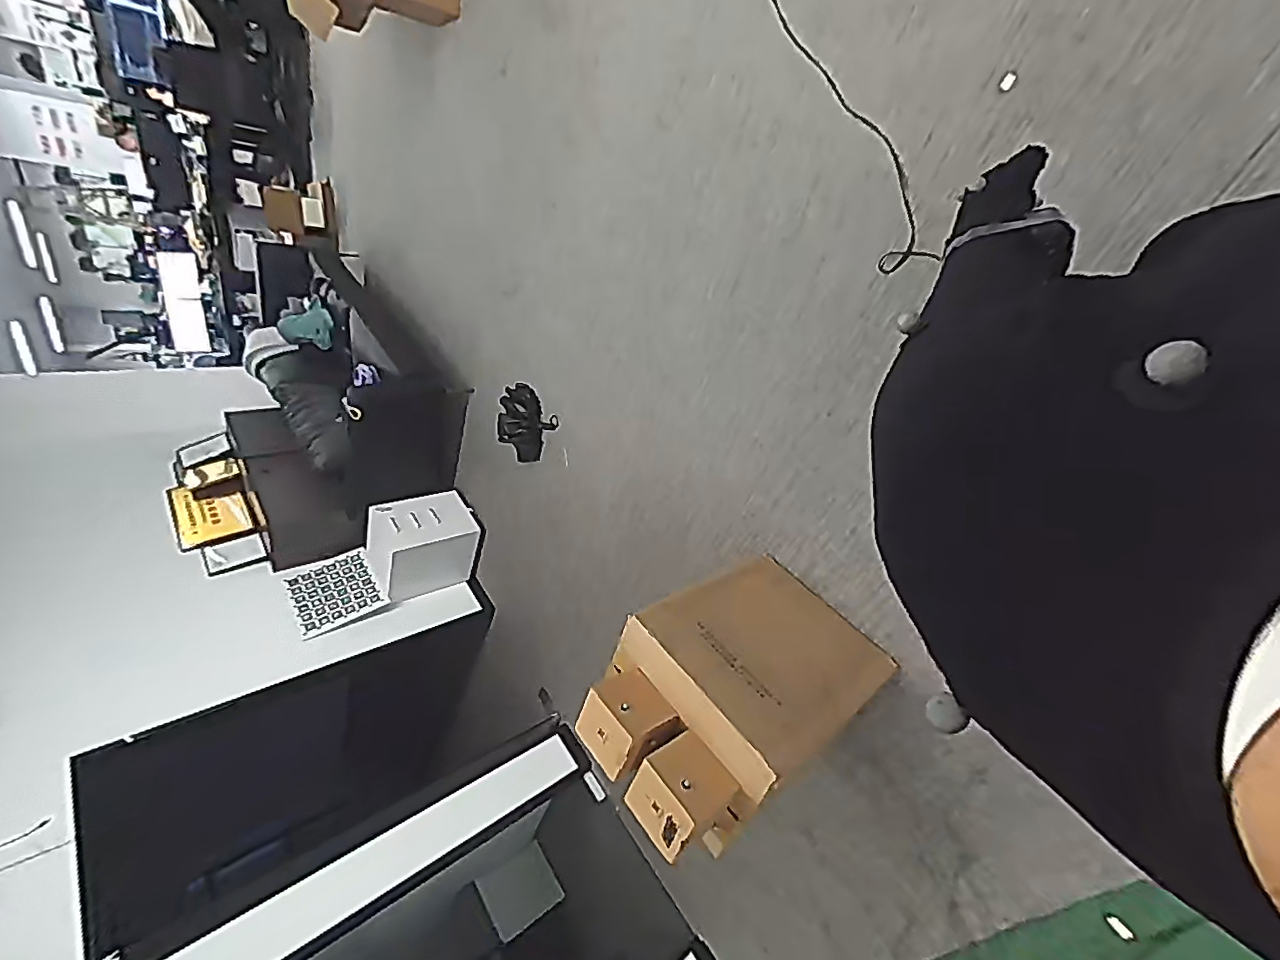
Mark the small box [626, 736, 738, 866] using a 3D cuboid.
[{"bbox_3d":[0.102,0.753,1.288,0.179,0.176,0.168,40,122,35],"label":"small box"}]

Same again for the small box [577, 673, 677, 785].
[{"bbox_3d":[-0.032,0.639,1.411,0.179,0.176,0.168,39,120,37],"label":"small box"}]
